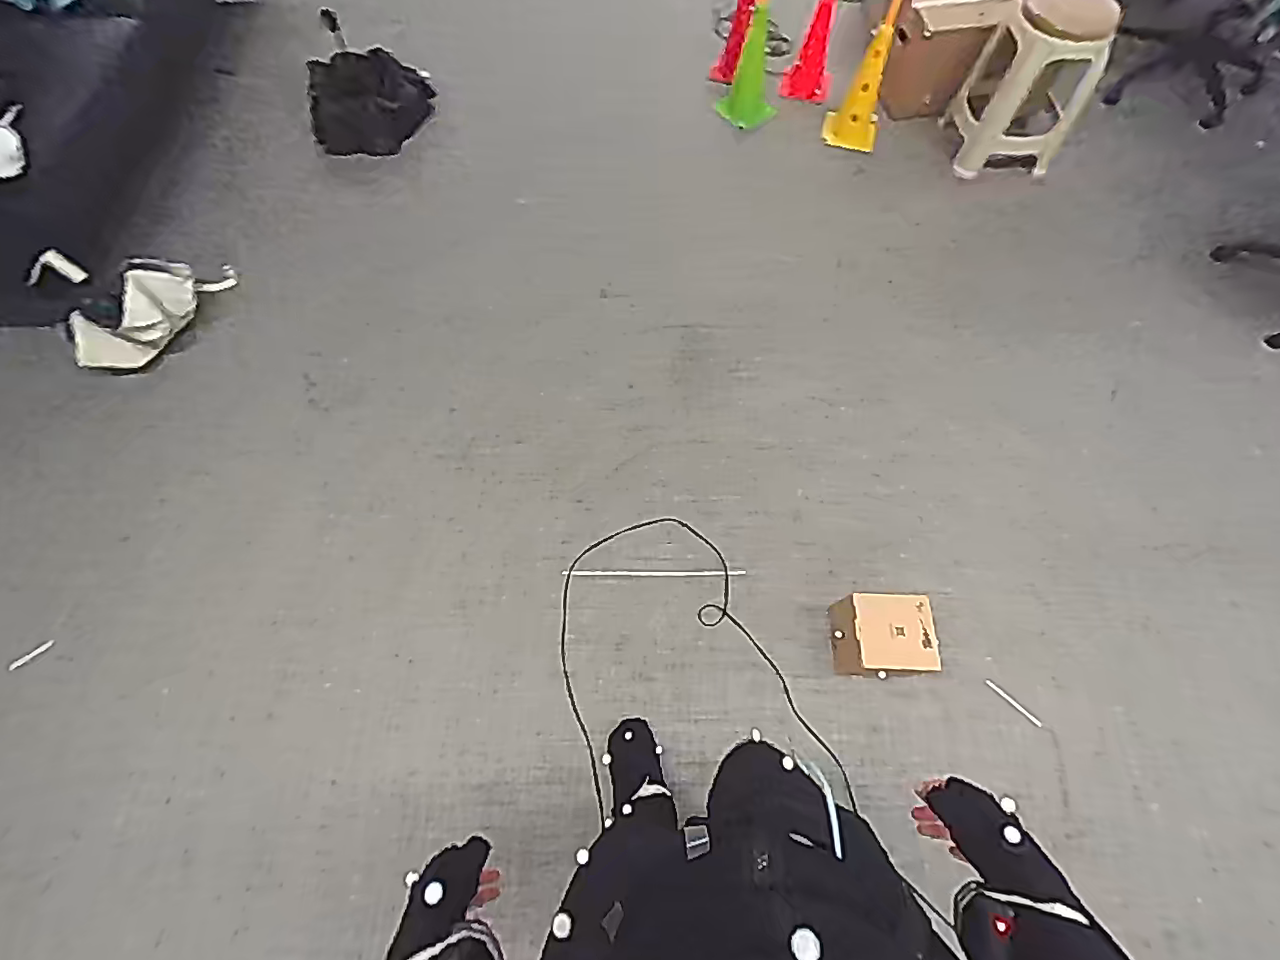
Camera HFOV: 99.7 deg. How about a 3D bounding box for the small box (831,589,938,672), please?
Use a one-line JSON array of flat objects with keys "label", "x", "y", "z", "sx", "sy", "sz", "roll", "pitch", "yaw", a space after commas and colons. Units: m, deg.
[{"label": "small box", "x": 0.564, "y": 0.360, "z": 1.278, "sx": 0.179, "sy": 0.176, "sz": 0.168, "roll": 2, "pitch": 67, "yaw": 1}]
